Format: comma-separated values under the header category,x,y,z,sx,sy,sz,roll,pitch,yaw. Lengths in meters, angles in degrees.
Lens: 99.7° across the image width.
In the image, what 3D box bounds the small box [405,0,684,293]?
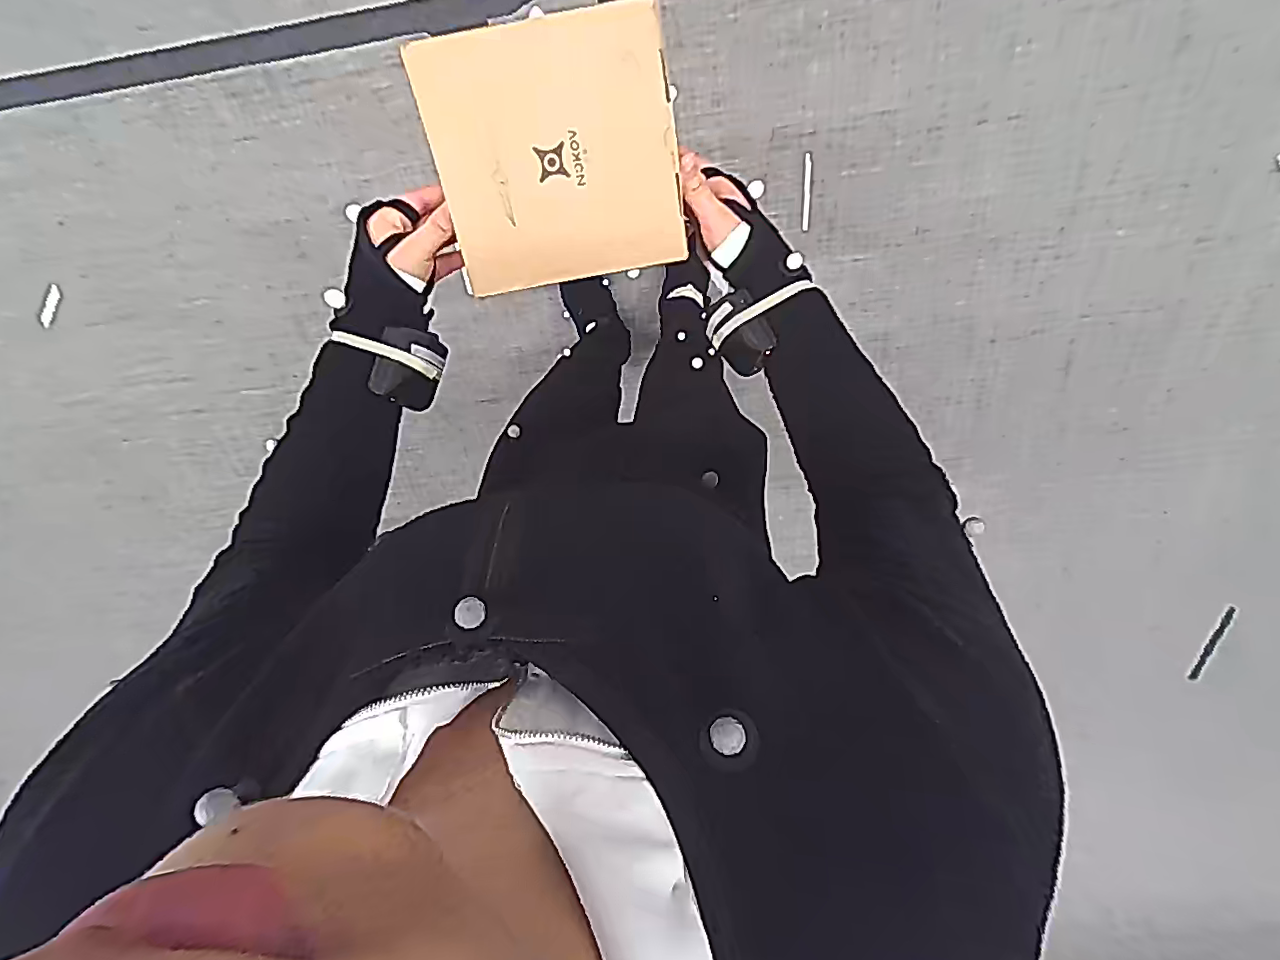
category,x,y,z,sx,sy,sz,roll,pitch,yaw
small box,-0.066,-0.272,0.471,0.179,0.176,0.168,-10,115,3
